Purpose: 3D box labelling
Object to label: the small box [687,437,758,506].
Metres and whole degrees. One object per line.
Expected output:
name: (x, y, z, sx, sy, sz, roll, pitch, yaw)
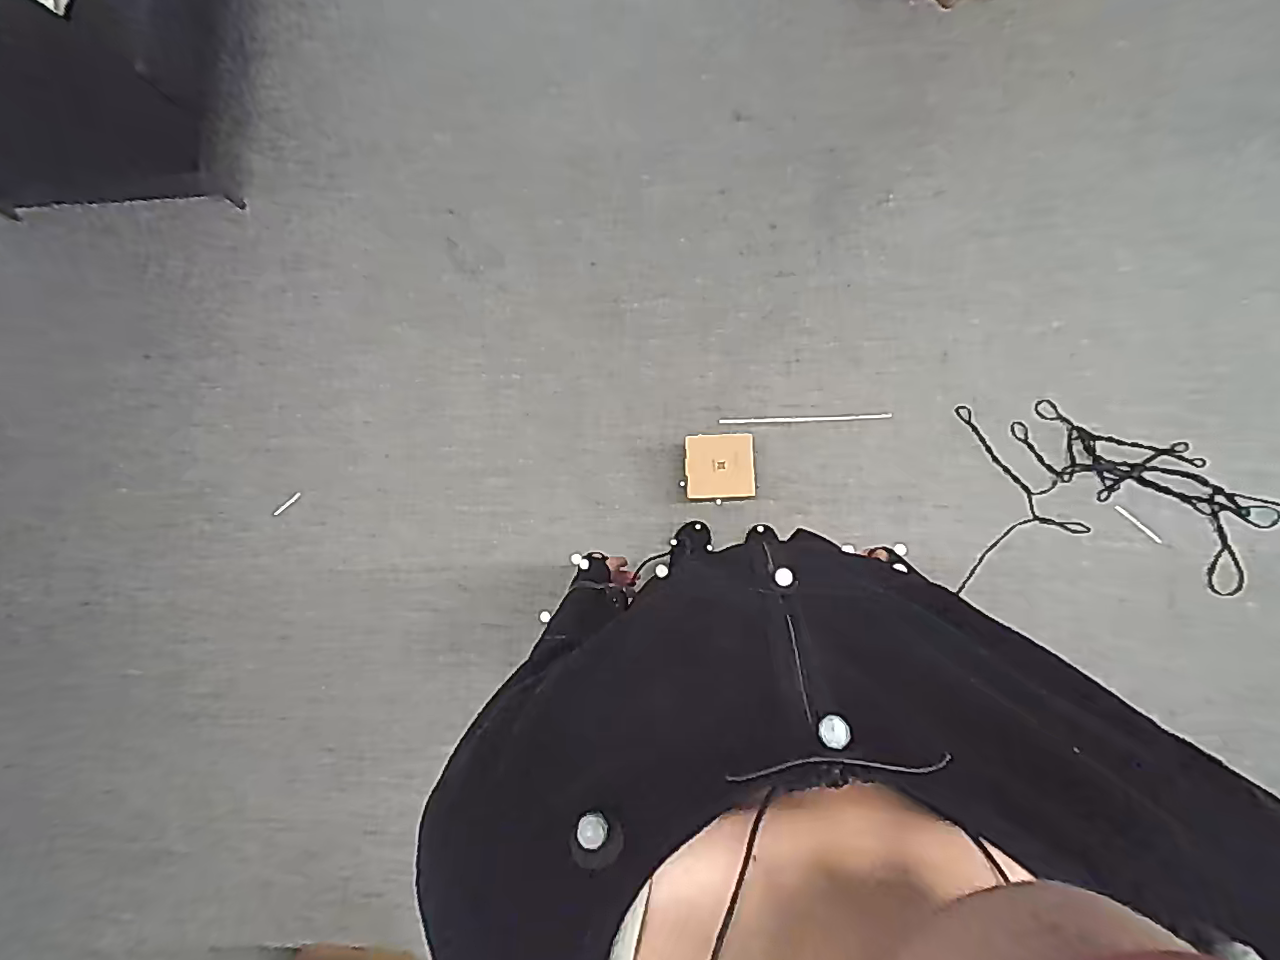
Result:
small box: (0.219, -0.019, 1.452, 0.179, 0.176, 0.168, -2, 84, 5)
